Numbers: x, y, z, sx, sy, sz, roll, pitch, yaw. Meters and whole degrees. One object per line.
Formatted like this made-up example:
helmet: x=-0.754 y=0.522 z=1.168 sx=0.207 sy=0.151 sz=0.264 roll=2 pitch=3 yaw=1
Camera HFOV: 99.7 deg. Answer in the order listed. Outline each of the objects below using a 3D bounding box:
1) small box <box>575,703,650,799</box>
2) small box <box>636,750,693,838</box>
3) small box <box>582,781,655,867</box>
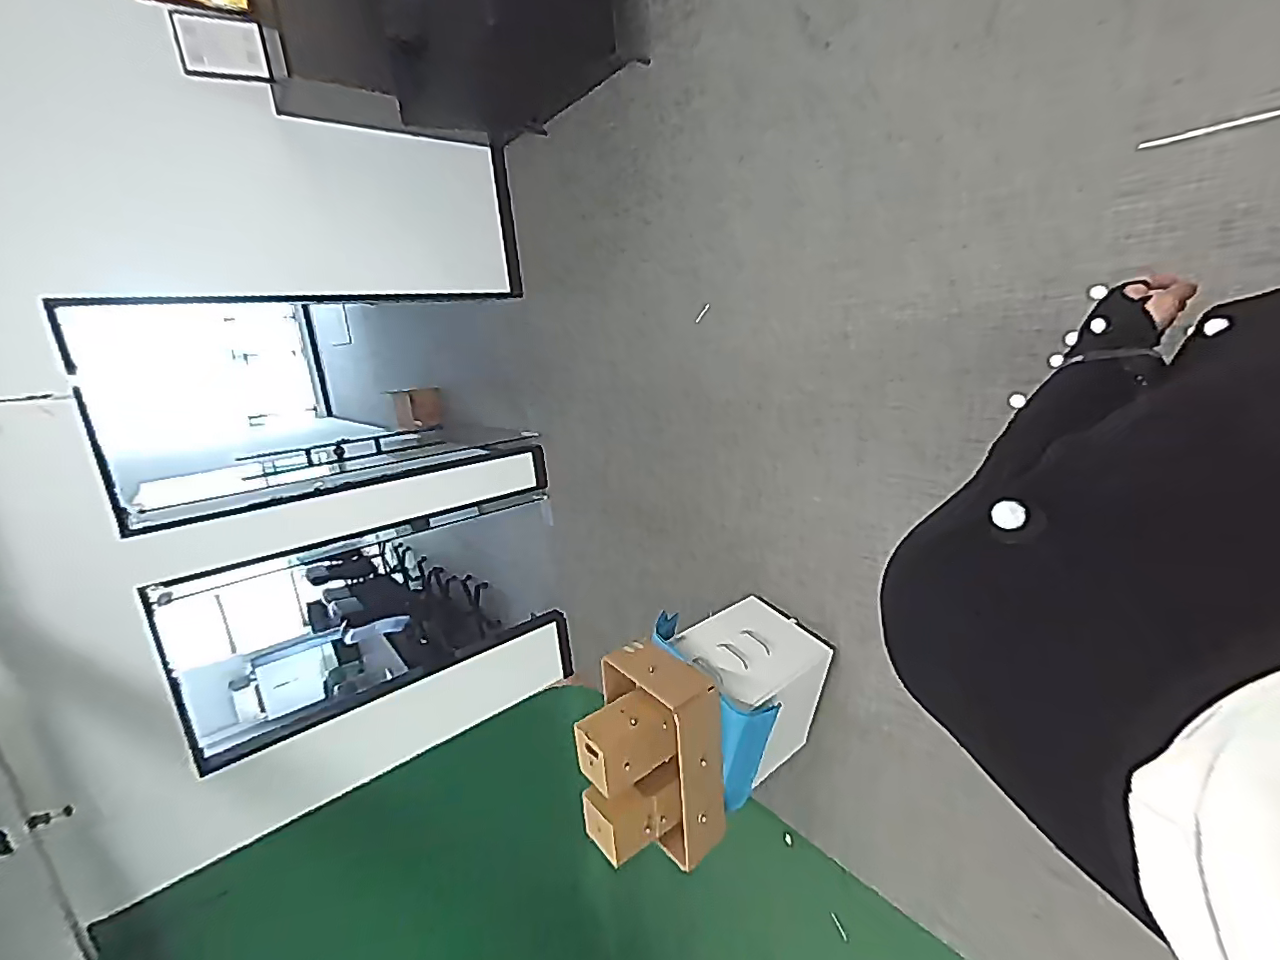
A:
small box: x=-0.084 y=0.836 z=1.690 sx=0.168 sy=0.176 sz=0.179 roll=14 pitch=114 yaw=52
small box: x=0.063 y=1.060 z=1.850 sx=0.179 sy=0.176 sz=0.168 roll=15 pitch=113 yaw=52
small box: x=-0.069 y=1.092 z=1.760 sx=0.179 sy=0.176 sz=0.168 roll=14 pitch=112 yaw=51
